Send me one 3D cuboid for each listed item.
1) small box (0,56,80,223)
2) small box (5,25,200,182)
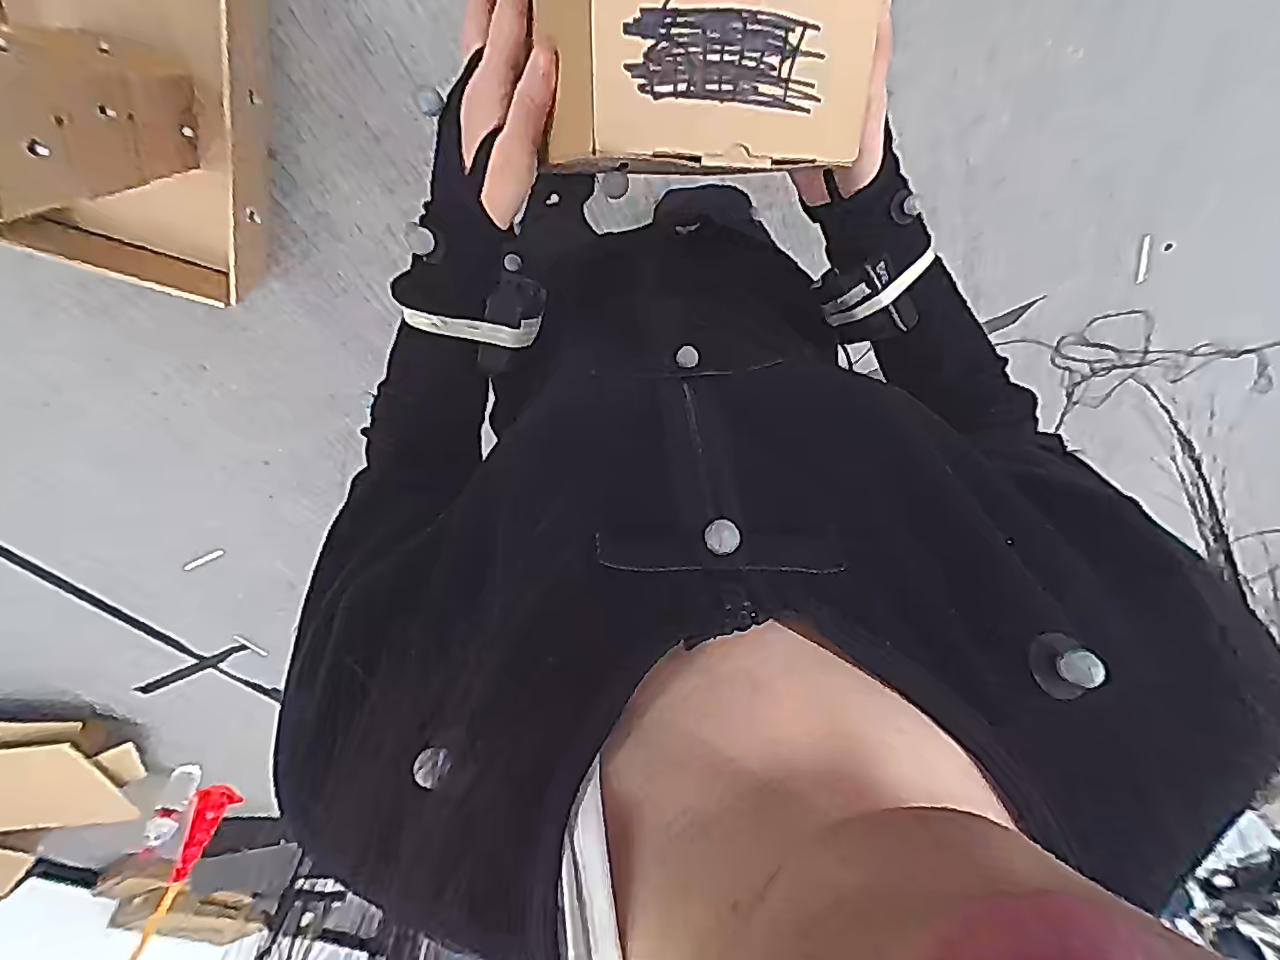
[{"bbox_3d":[-0.876,-0.452,0.687,0.179,0.176,0.168,9,124,-16],"label":"small box"},{"bbox_3d":[-0.917,-0.651,0.944,0.179,0.176,0.168,13,125,-19],"label":"small box"}]
